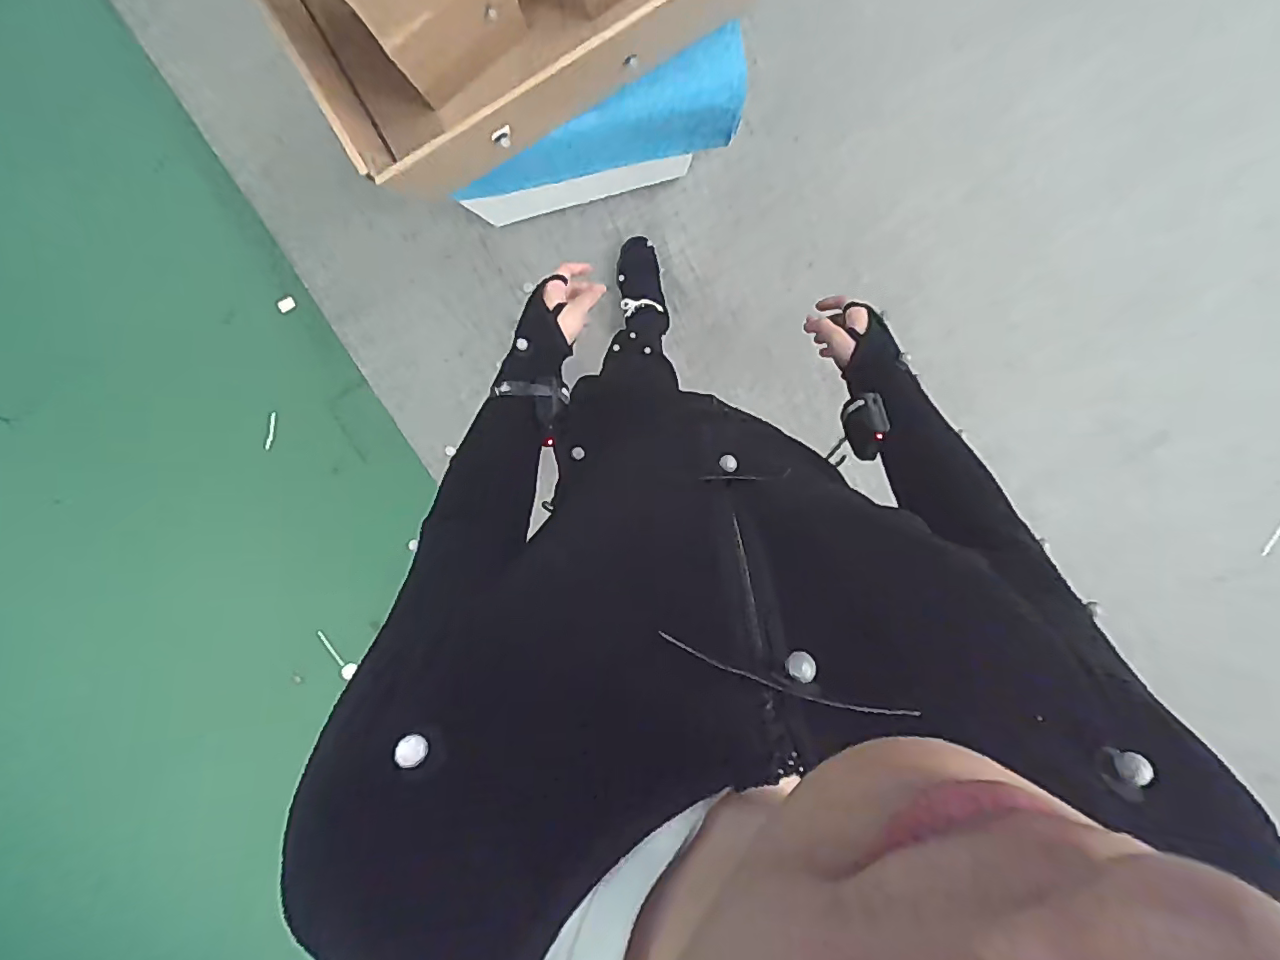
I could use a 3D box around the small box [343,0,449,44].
[{"bbox_3d":[-0.270,-0.592,0.530,0.179,0.176,0.168,-32,103,8],"label":"small box"}]
